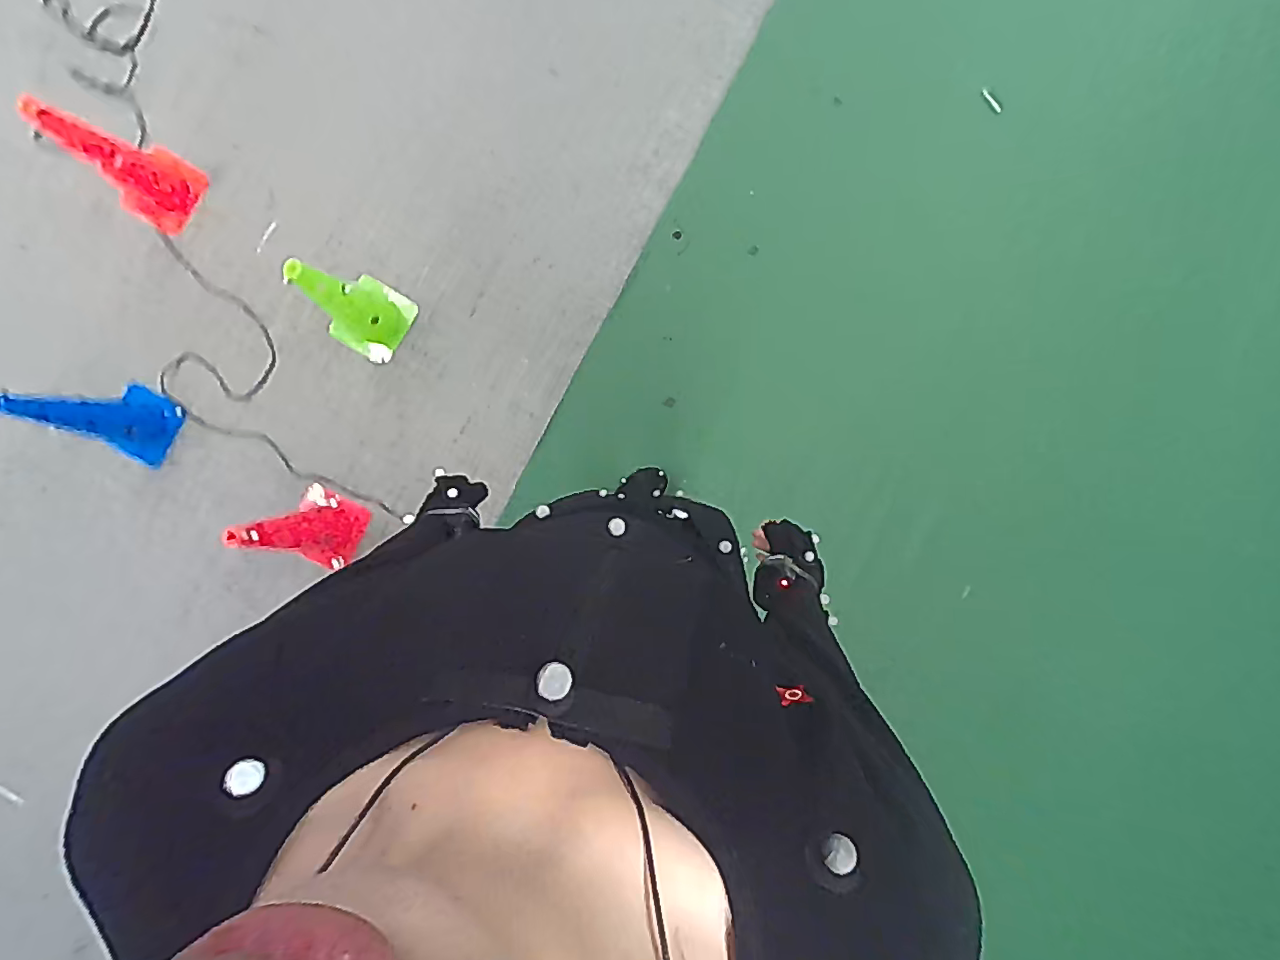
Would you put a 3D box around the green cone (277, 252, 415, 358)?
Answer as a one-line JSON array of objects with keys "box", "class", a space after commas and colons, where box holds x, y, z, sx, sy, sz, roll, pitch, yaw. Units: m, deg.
[{"box": [-0.771, -0.479, 1.369, 0.202, 0.368, 0.200, 31, 89, 3], "class": "green cone"}]

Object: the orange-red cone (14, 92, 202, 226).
[{"box": [-1.393, -0.862, 1.397, 0.199, 0.360, 0.198, 33, 90, 0], "class": "orange-red cone"}]
